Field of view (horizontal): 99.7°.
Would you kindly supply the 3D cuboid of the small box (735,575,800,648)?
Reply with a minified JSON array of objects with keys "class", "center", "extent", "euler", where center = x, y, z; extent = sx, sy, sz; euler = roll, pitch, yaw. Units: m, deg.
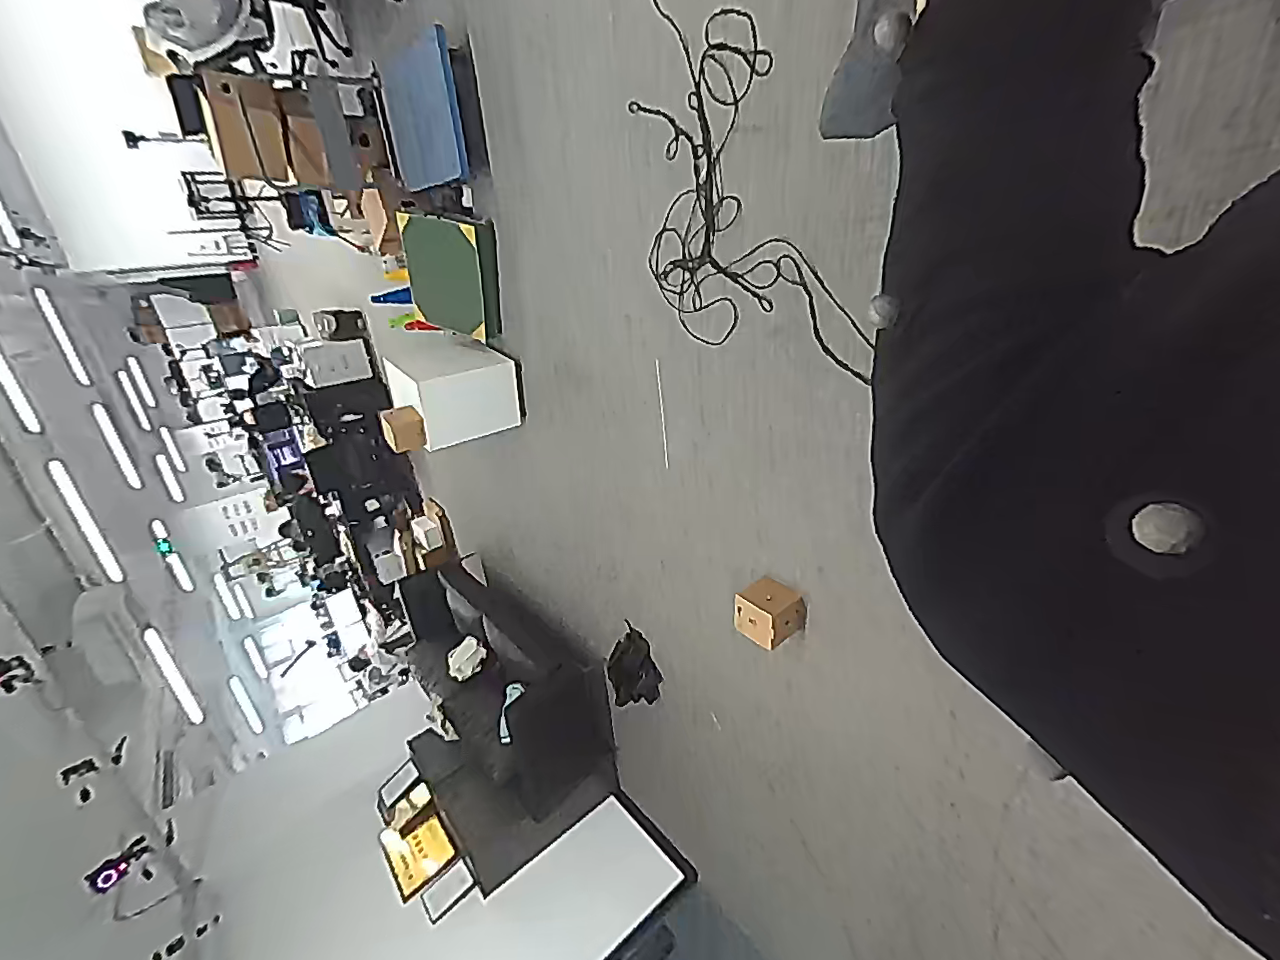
[{"class":"small box","center":[0.476,0.481,2.010],"extent":[0.179,0.176,0.168],"euler":[25,128,44]}]
